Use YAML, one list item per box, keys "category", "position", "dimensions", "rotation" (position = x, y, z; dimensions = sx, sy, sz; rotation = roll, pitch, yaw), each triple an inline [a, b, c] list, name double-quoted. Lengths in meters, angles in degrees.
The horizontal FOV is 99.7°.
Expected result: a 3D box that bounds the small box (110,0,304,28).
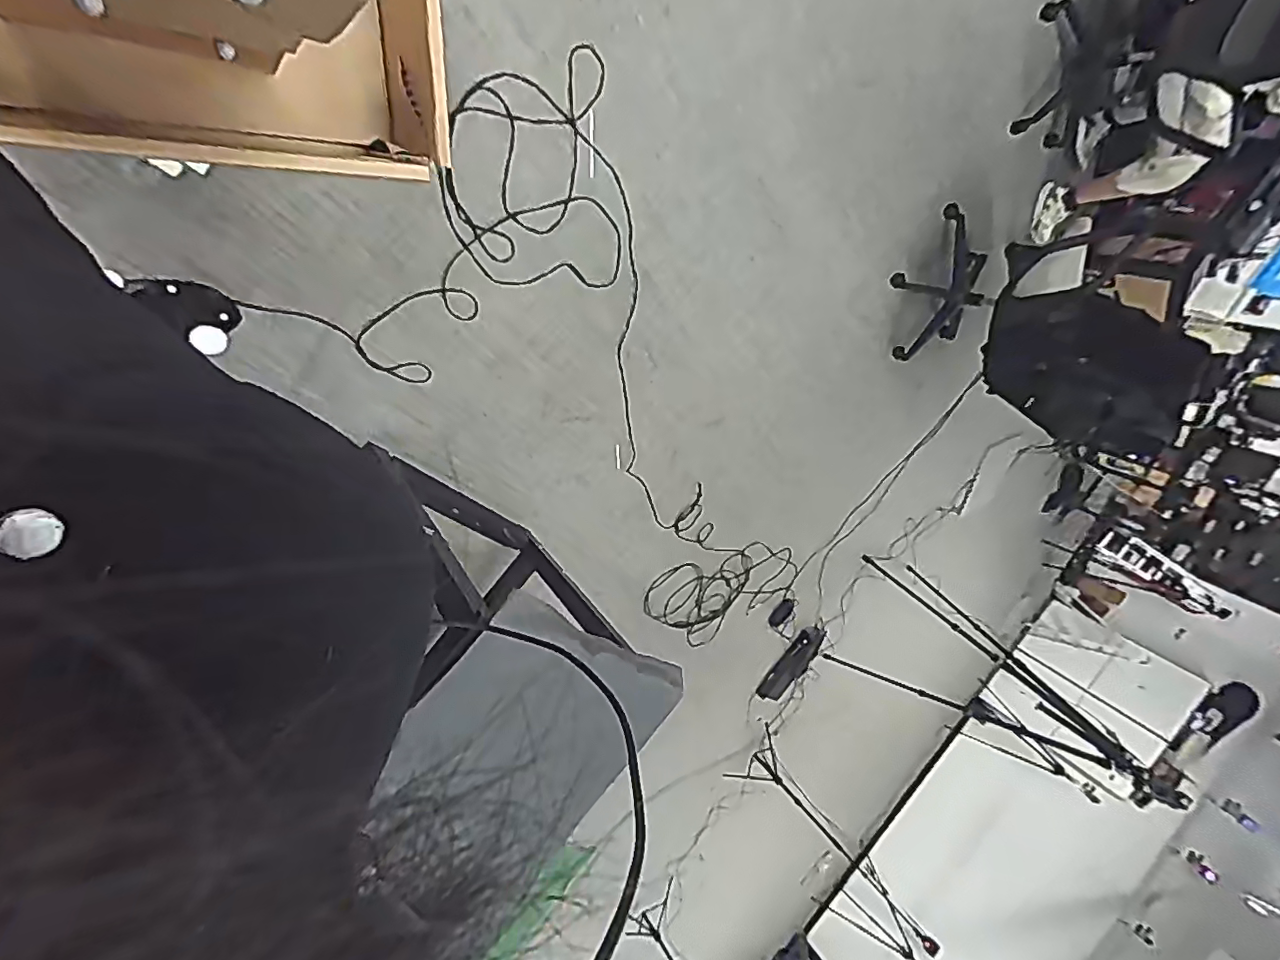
- category: "small box"
  position: [-0.252, -0.321, 0.225]
  dimensions: [0.179, 0.176, 0.168]
  rotation: [-12, 121, -32]
